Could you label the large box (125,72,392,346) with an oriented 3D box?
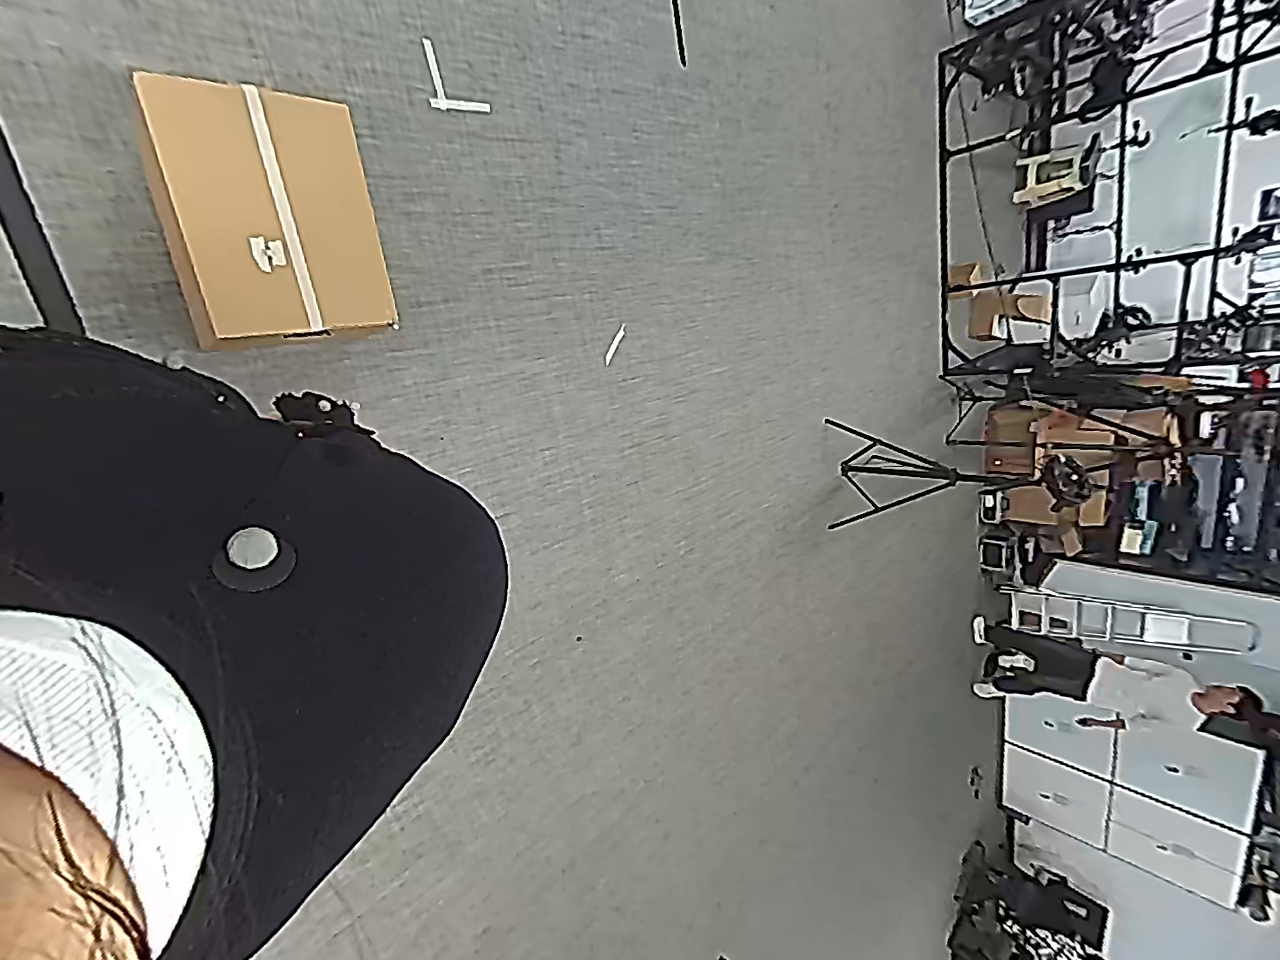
[{"bbox_3d":[-0.752,-0.496,1.078,0.320,0.320,0.408,-20,110,-39],"label":"large box"}]
